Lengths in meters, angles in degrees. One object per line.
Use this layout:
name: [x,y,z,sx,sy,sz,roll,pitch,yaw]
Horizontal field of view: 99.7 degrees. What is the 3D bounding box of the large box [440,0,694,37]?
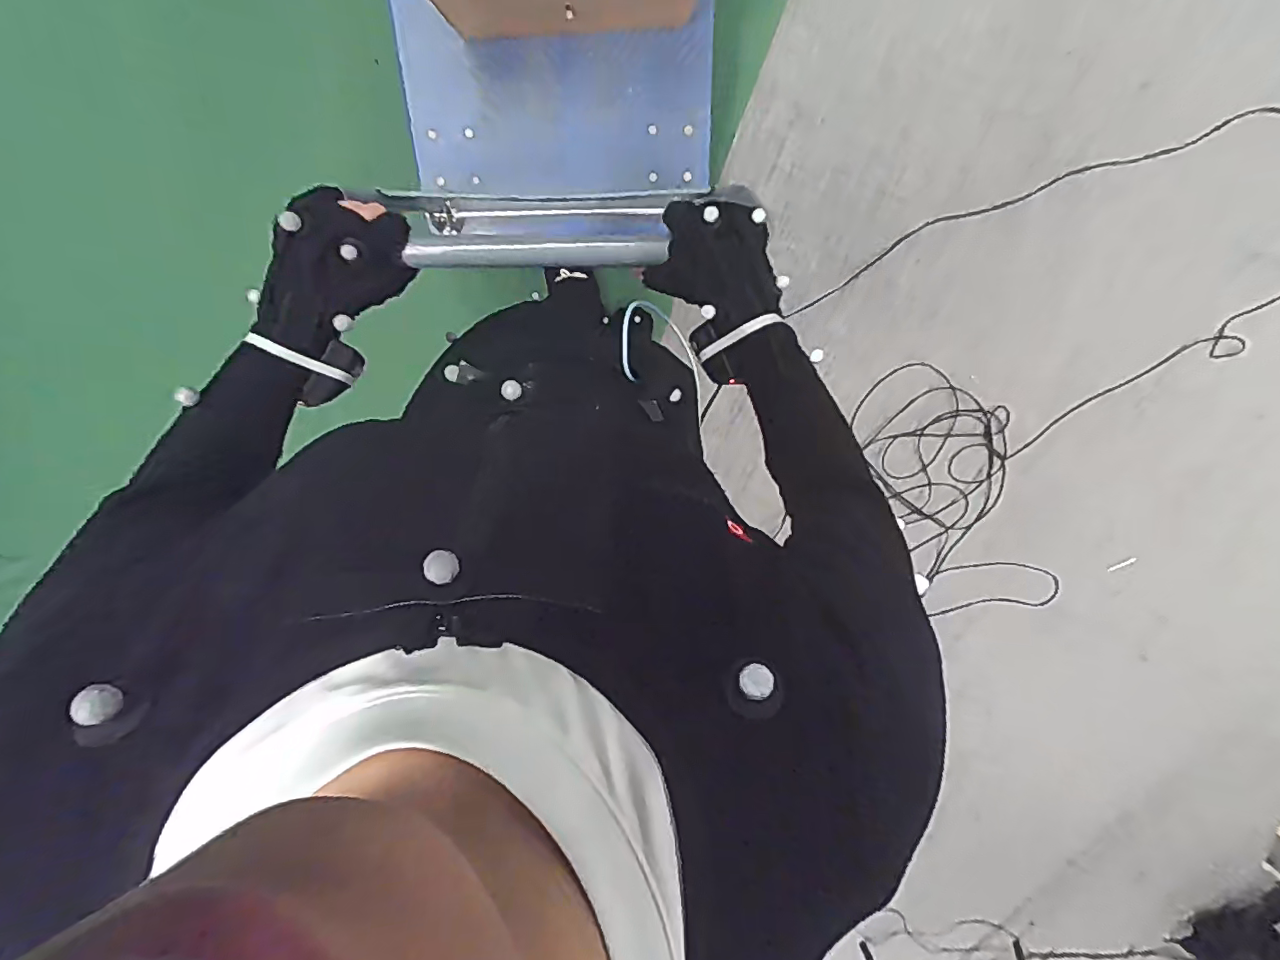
large box: [-0.115,-0.889,0.783,0.408,0.320,0.320,-4,115,0]
